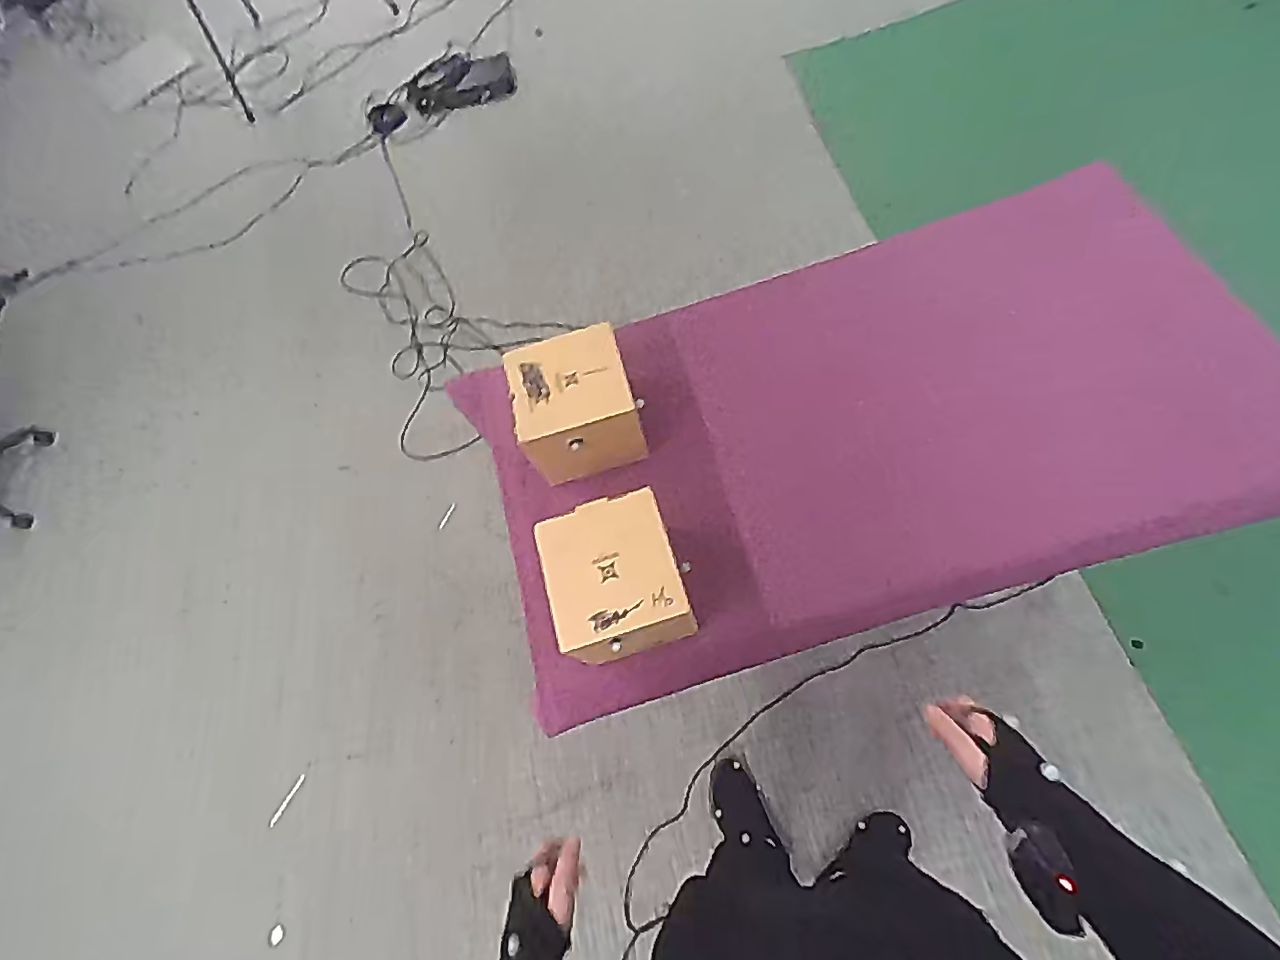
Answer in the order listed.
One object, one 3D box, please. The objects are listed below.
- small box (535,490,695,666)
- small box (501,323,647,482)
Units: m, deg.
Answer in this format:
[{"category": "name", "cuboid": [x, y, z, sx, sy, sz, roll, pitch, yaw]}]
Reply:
[{"category": "small box", "cuboid": [-0.029, 0.142, 0.747, 0.168, 0.176, 0.179, -18, 65, 2]}, {"category": "small box", "cuboid": [-0.100, -0.114, 0.865, 0.179, 0.176, 0.168, -16, 67, 2]}]
